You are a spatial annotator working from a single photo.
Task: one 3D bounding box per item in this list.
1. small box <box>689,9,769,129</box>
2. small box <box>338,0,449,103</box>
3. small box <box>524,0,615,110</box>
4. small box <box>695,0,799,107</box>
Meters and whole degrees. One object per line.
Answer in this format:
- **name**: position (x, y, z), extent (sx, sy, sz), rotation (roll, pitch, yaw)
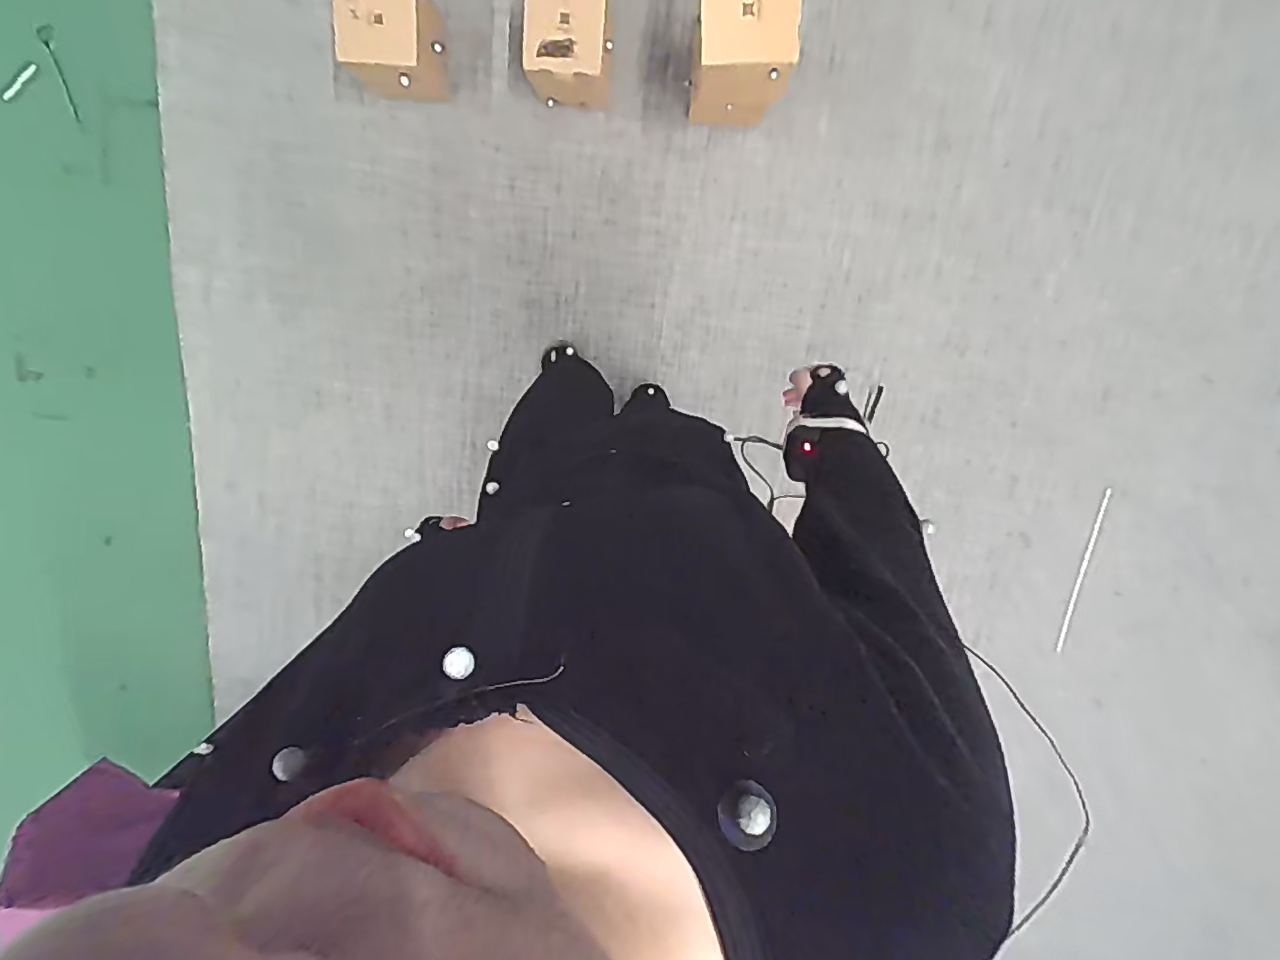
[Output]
- **small box**: position (0.201, -0.893, 1.185), extent (0.179, 0.176, 0.168), rotation (4, 105, 1)
- **small box**: position (-0.537, -0.967, 1.198), extent (0.179, 0.176, 0.168), rotation (6, 103, 1)
- **small box**: position (-0.148, -0.945, 1.186), extent (0.168, 0.176, 0.179), rotation (6, 103, 1)
- **small box**: position (0.196, -0.838, 1.031), extent (0.179, 0.176, 0.168), rotation (-1, 104, 2)
